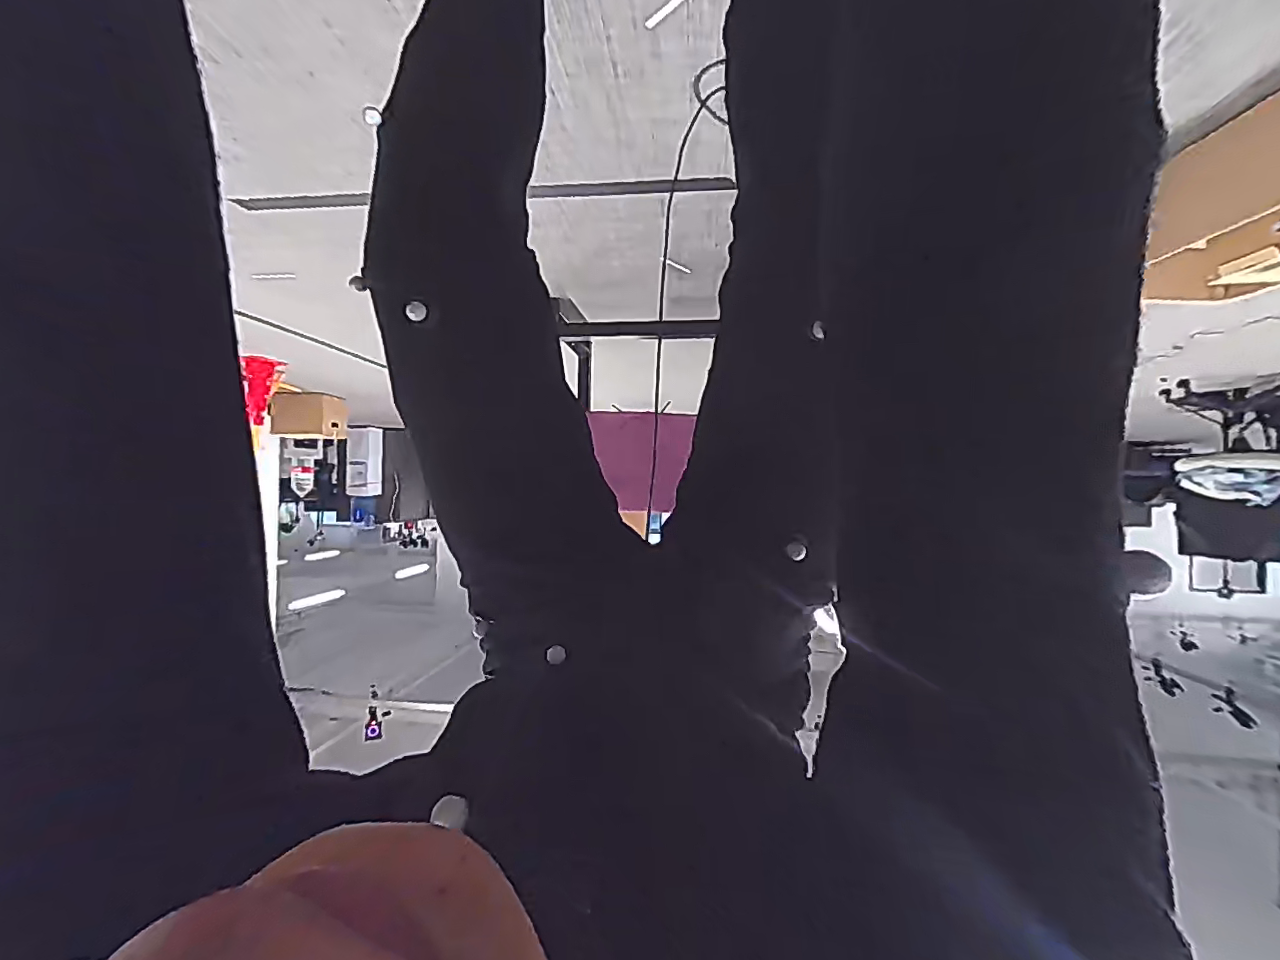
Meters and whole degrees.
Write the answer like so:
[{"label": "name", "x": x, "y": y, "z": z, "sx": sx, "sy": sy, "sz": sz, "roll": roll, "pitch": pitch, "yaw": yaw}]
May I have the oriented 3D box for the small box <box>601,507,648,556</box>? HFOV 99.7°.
[{"label": "small box", "x": -0.057, "y": 0.187, "z": 1.998, "sx": 0.168, "sy": 0.176, "sz": 0.179, "roll": 1, "pitch": 180, "yaw": 1}]
